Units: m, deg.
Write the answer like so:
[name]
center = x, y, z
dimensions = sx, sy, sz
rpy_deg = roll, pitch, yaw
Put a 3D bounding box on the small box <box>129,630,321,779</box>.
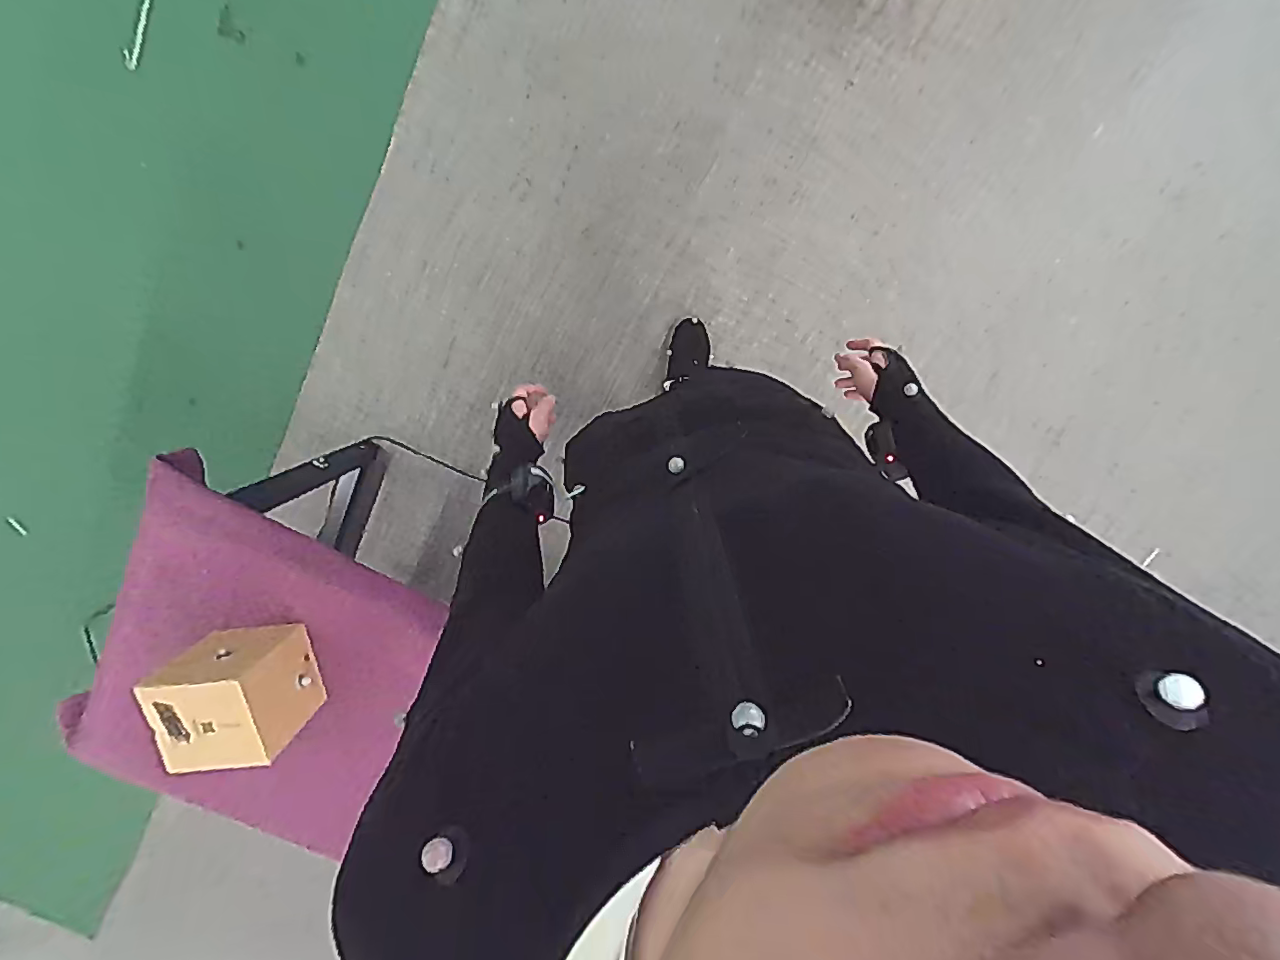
[small box]
center = -0.691, 0.374, 0.922
dimensions = 0.179, 0.176, 0.168
rpy_deg = -6, 106, 2
